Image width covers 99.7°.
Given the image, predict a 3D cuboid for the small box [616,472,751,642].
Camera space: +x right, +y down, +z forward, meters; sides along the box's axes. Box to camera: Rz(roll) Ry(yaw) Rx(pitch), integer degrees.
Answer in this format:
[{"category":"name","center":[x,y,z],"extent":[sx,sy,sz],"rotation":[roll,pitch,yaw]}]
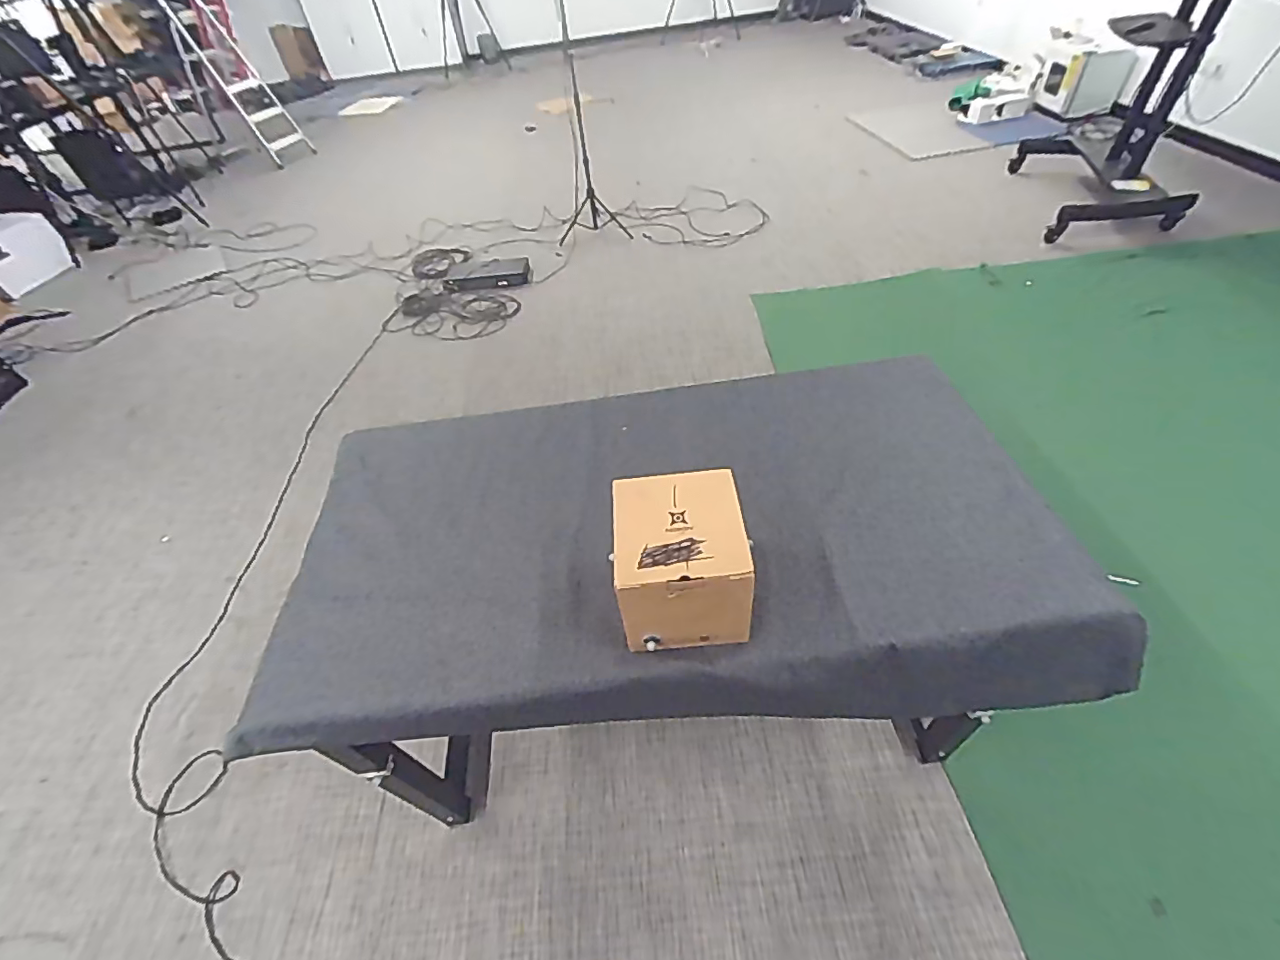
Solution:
[{"category":"small box","center":[0.058,0.113,0.755],"extent":[0.168,0.176,0.179],"rotation":[-4,46,2]}]
